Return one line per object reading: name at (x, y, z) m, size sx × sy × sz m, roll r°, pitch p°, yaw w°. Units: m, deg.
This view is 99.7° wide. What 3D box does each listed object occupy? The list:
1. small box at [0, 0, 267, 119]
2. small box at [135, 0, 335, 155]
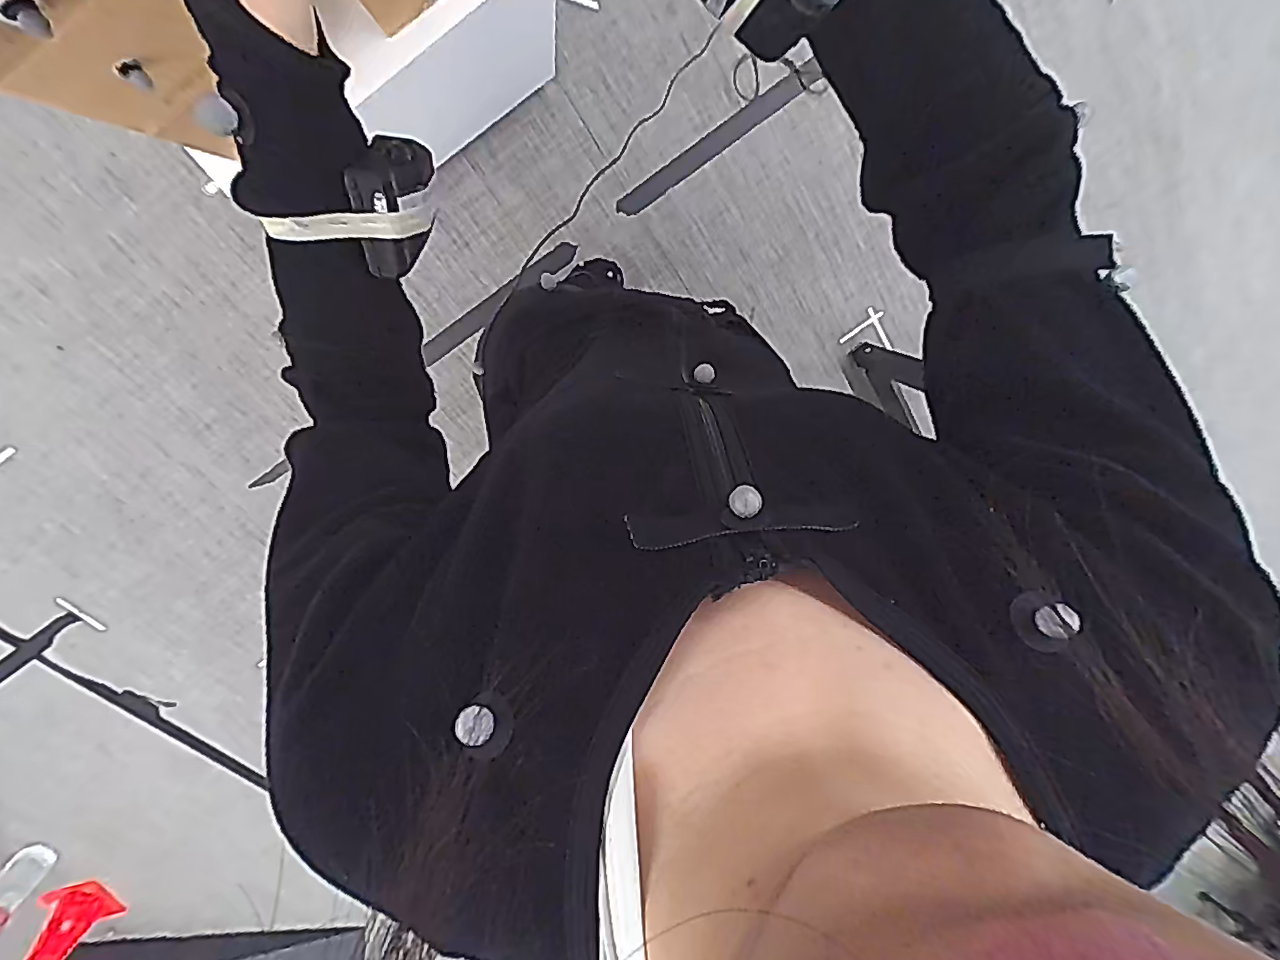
small box at (-0.442, -0.412, 0.410) m, size 0.168 × 0.176 × 0.179 m, roll -35°, pitch 113°, yaw 7°
small box at (-0.466, -0.475, 0.558) m, size 0.168 × 0.176 × 0.179 m, roll -34°, pitch 113°, yaw 7°
